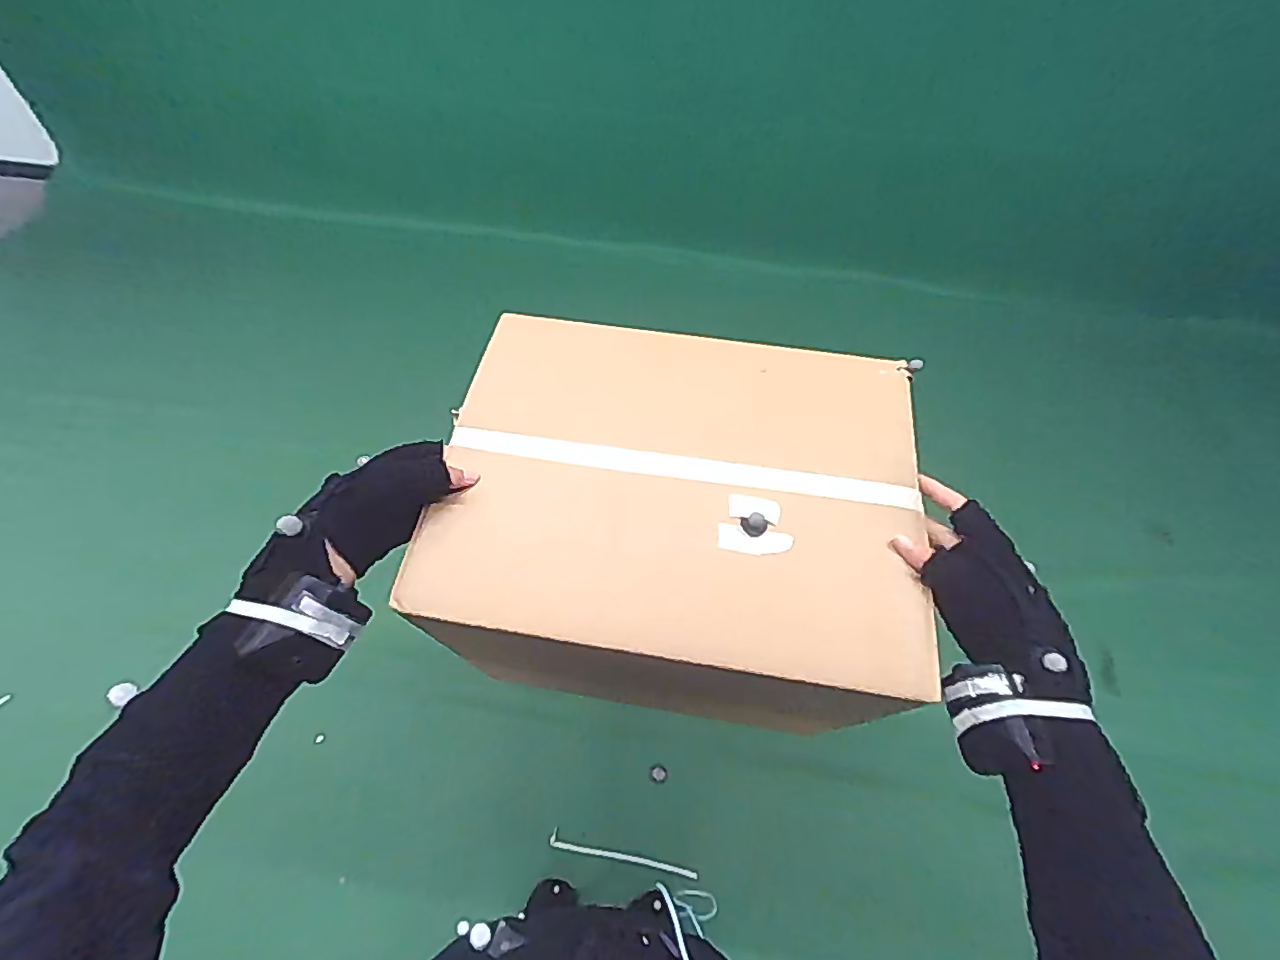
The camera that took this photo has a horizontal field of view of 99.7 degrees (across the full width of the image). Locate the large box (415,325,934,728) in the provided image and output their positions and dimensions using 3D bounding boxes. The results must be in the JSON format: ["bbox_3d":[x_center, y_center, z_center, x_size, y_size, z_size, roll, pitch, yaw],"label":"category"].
[{"bbox_3d":[0.038,0.067,0.607,0.408,0.320,0.320,9,61,4],"label":"large box"}]
